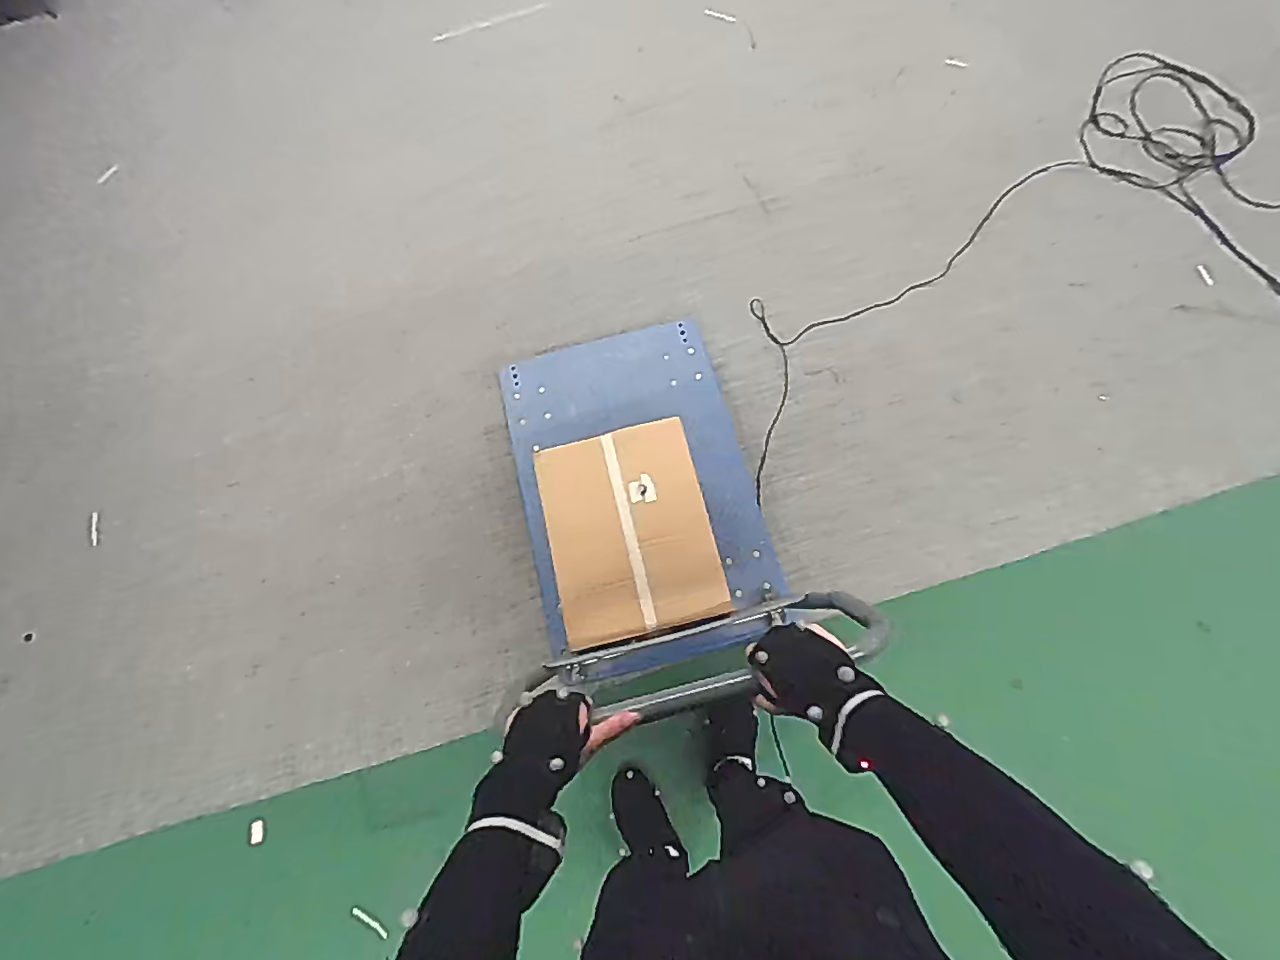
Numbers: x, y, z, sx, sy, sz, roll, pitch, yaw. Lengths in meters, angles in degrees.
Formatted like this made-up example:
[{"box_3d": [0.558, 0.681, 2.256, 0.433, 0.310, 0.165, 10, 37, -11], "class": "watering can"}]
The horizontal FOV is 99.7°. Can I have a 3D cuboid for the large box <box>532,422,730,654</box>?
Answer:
[{"box_3d": [-0.017, 0.144, 1.200, 0.320, 0.320, 0.408, -14, 72, -2], "class": "large box"}]
